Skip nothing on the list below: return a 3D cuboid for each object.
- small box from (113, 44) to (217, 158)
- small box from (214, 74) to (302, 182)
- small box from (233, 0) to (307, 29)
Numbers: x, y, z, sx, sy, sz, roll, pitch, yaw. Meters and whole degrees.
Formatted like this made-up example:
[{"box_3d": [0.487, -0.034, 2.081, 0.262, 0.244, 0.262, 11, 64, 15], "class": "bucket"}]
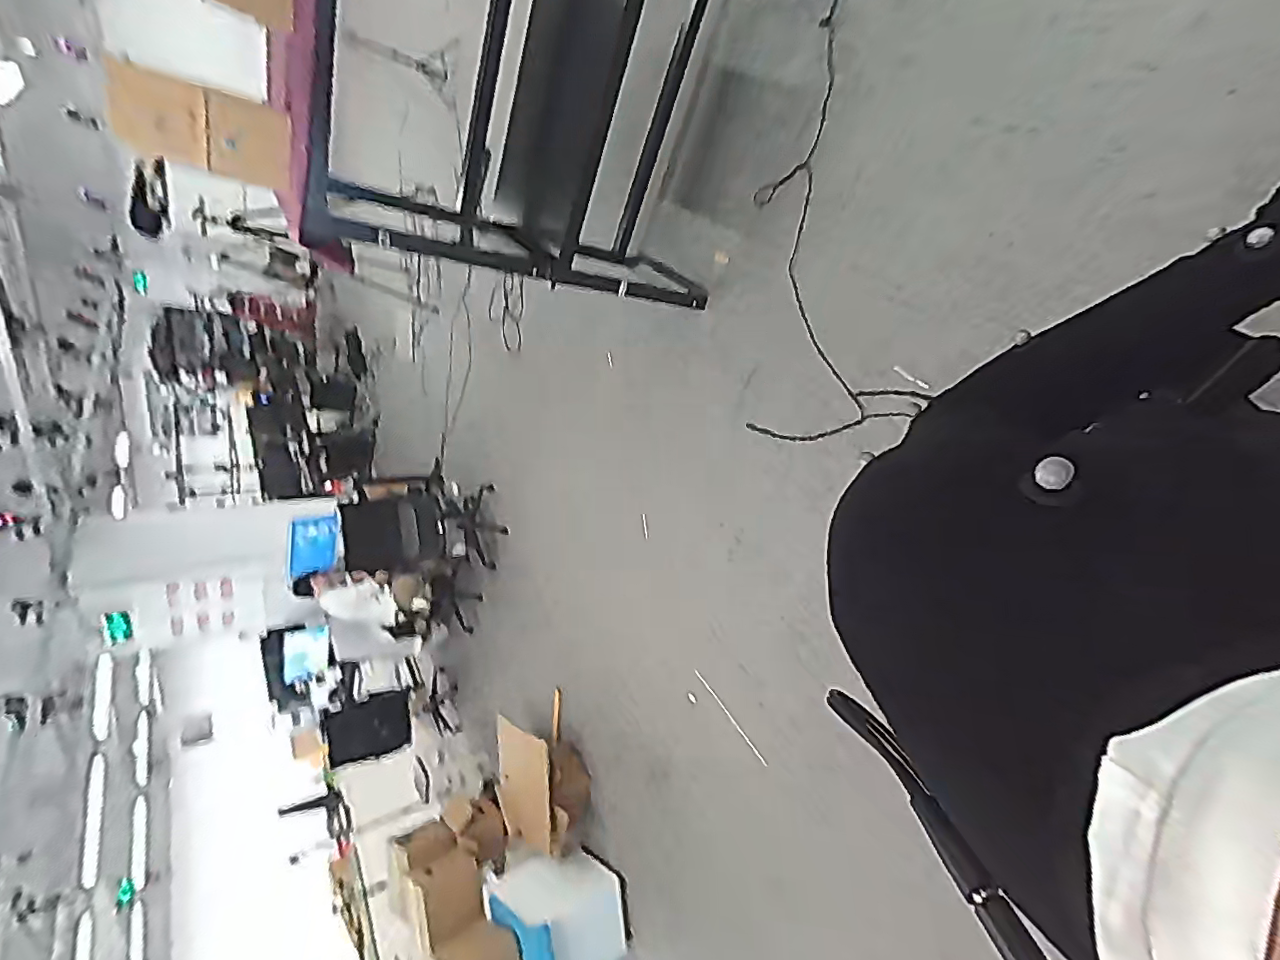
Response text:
[{"box_3d": [-1.072, -0.861, 1.236, 0.179, 0.176, 0.168, 46, 126, 40], "class": "small box"}, {"box_3d": [-0.942, -0.862, 1.334, 0.168, 0.176, 0.179, 45, 125, 39], "class": "small box"}, {"box_3d": [-0.835, -1.136, 1.181, 0.168, 0.176, 0.179, 50, 129, 38], "class": "small box"}]
